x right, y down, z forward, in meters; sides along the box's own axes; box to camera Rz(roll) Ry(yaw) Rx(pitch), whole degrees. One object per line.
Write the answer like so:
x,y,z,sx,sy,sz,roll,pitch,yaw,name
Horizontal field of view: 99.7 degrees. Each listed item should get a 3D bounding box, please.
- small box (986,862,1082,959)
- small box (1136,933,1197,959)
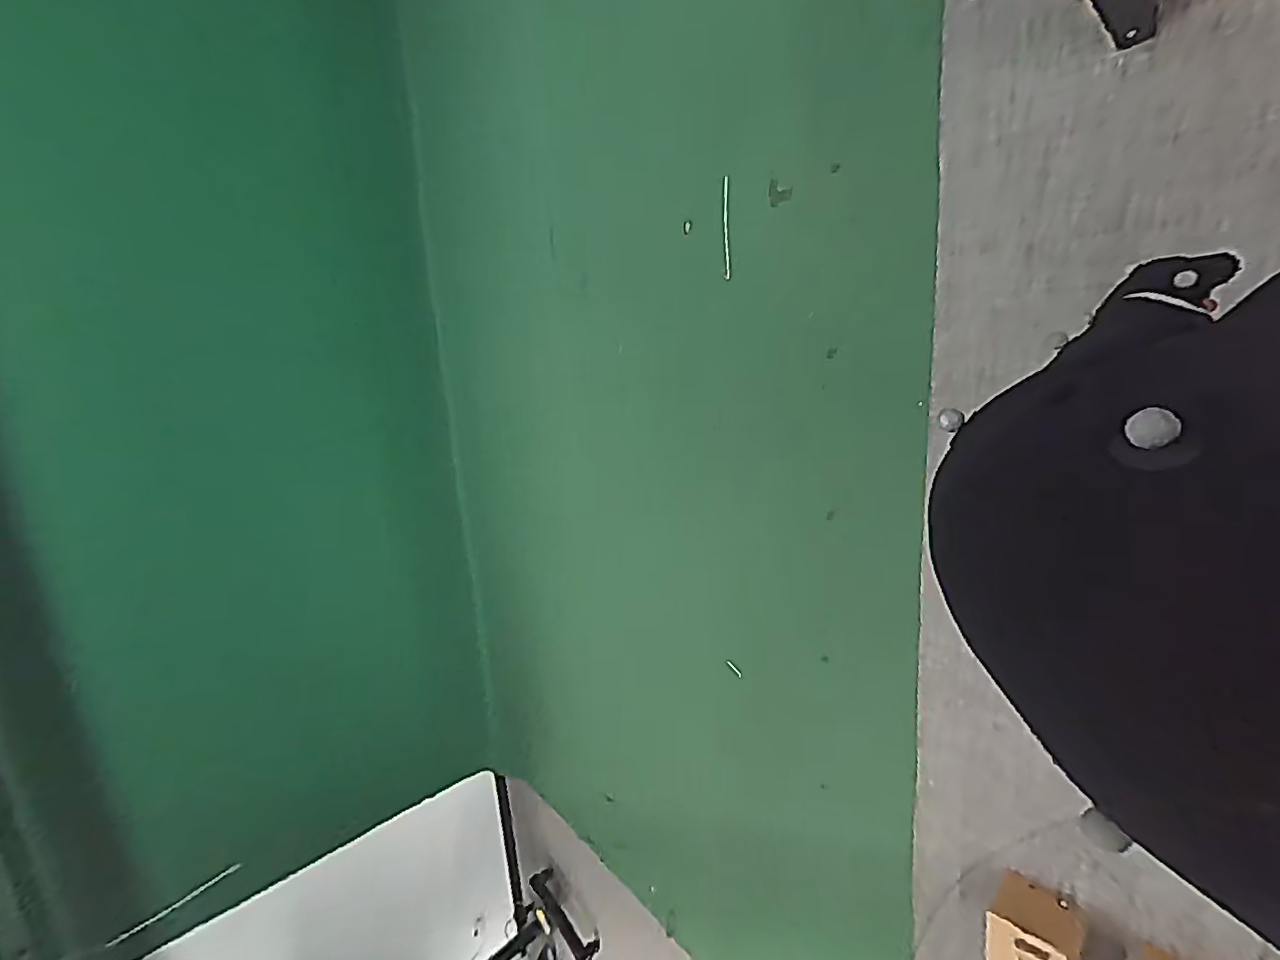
1.014,1.144,1.390,0.168,0.176,0.179,7,106,49,small box
1.190,1.174,1.189,0.168,0.176,0.179,12,109,49,small box
